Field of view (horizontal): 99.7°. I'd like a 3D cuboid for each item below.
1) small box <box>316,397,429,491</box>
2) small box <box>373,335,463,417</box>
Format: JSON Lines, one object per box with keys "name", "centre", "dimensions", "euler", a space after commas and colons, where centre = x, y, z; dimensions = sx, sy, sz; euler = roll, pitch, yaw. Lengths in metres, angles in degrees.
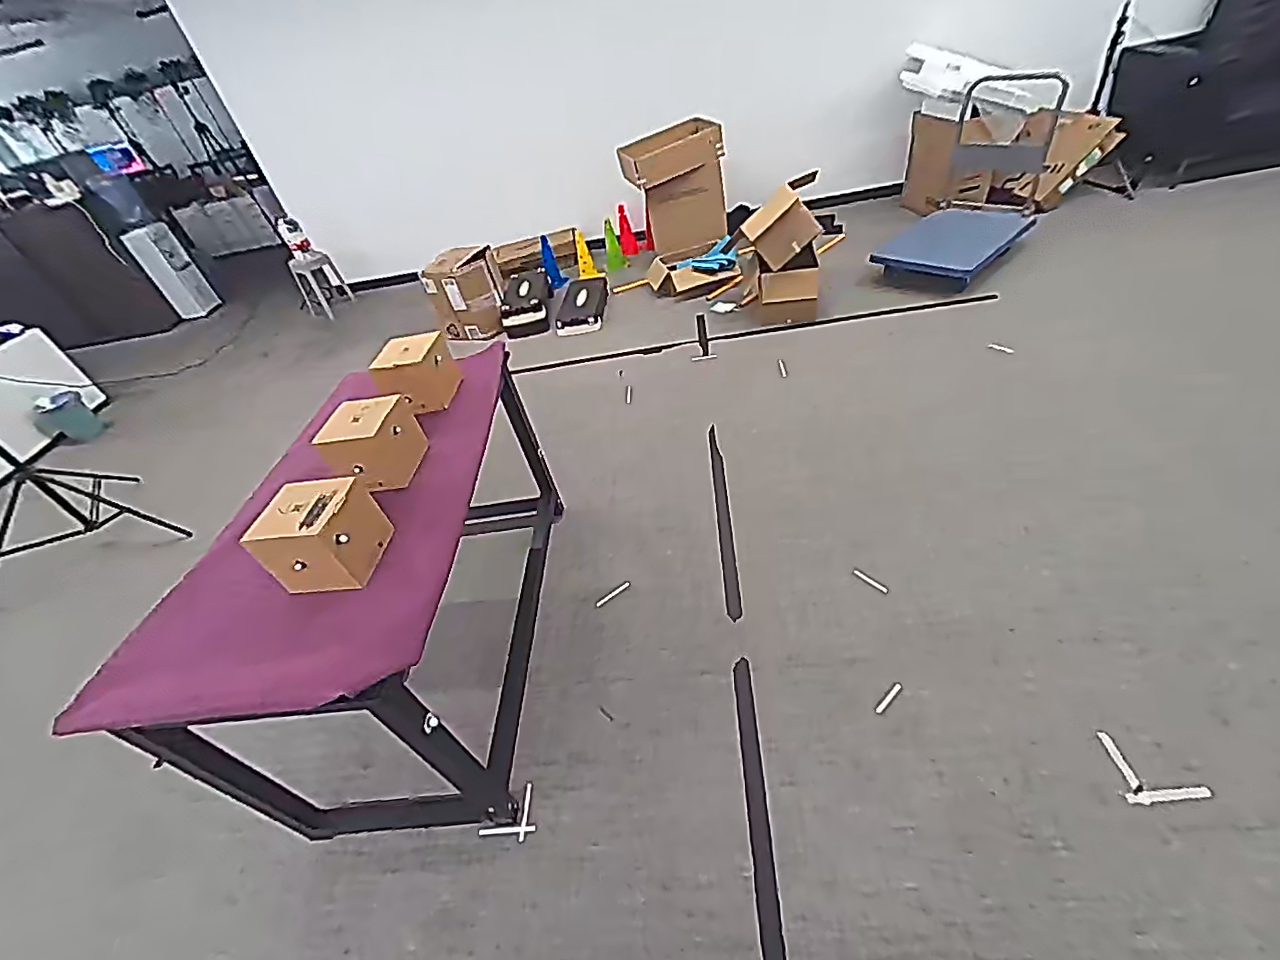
{"name": "small box", "centre": [-0.662, -0.084, 1.365], "dimensions": [0.168, 0.176, 0.179], "euler": [-5, 41, 9]}
{"name": "small box", "centre": [-0.653, -0.308, 1.616], "dimensions": [0.168, 0.176, 0.179], "euler": [-6, 42, 10]}
